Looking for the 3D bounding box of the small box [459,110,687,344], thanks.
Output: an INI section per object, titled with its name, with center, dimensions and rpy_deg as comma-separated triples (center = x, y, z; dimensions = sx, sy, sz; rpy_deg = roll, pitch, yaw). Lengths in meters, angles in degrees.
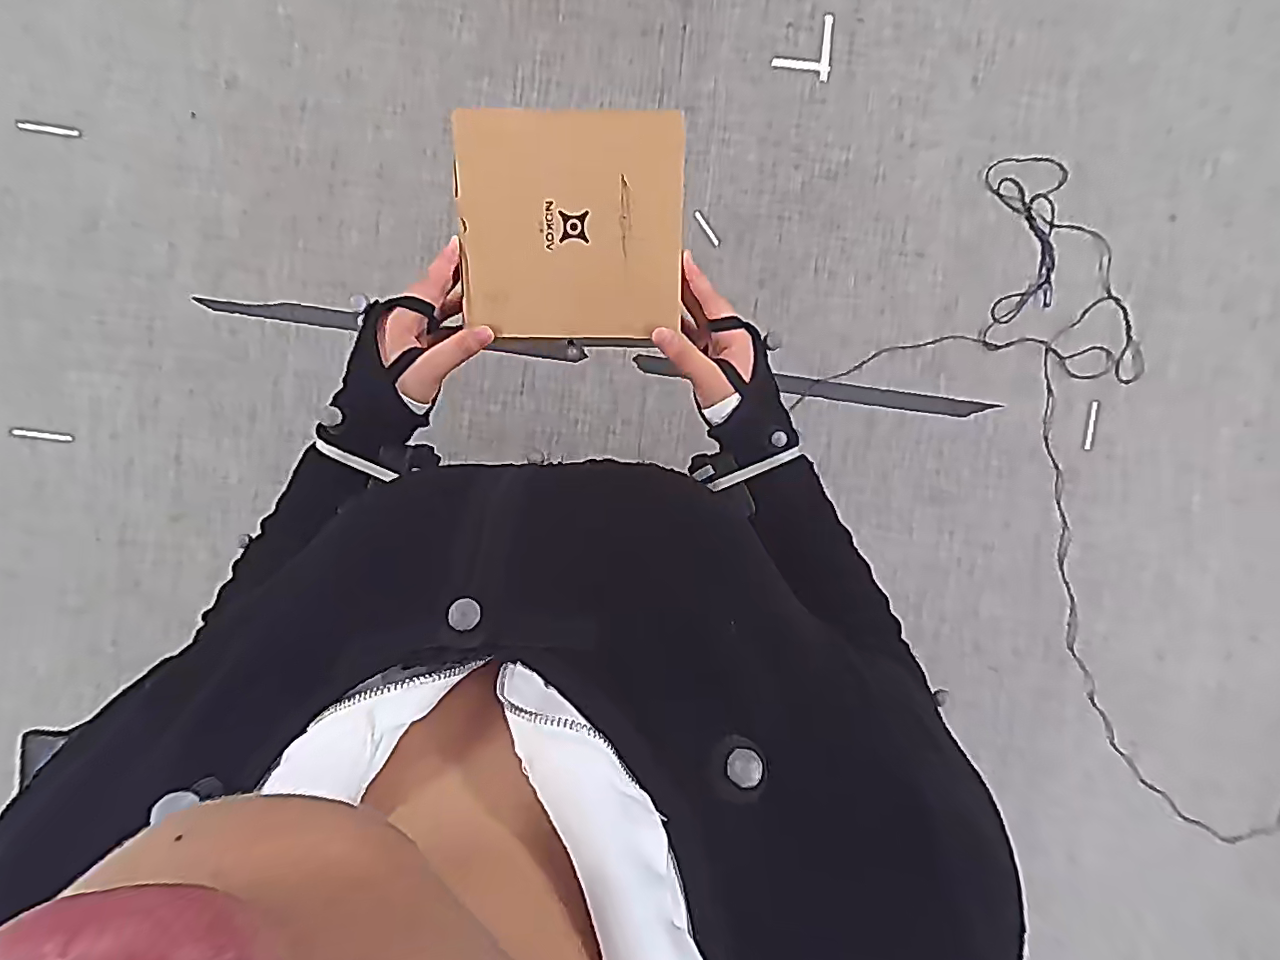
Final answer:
[small box]
center = -0.052, -0.214, 0.503
dimensions = 0.179, 0.176, 0.168
rpy_deg = 0, 102, -1
